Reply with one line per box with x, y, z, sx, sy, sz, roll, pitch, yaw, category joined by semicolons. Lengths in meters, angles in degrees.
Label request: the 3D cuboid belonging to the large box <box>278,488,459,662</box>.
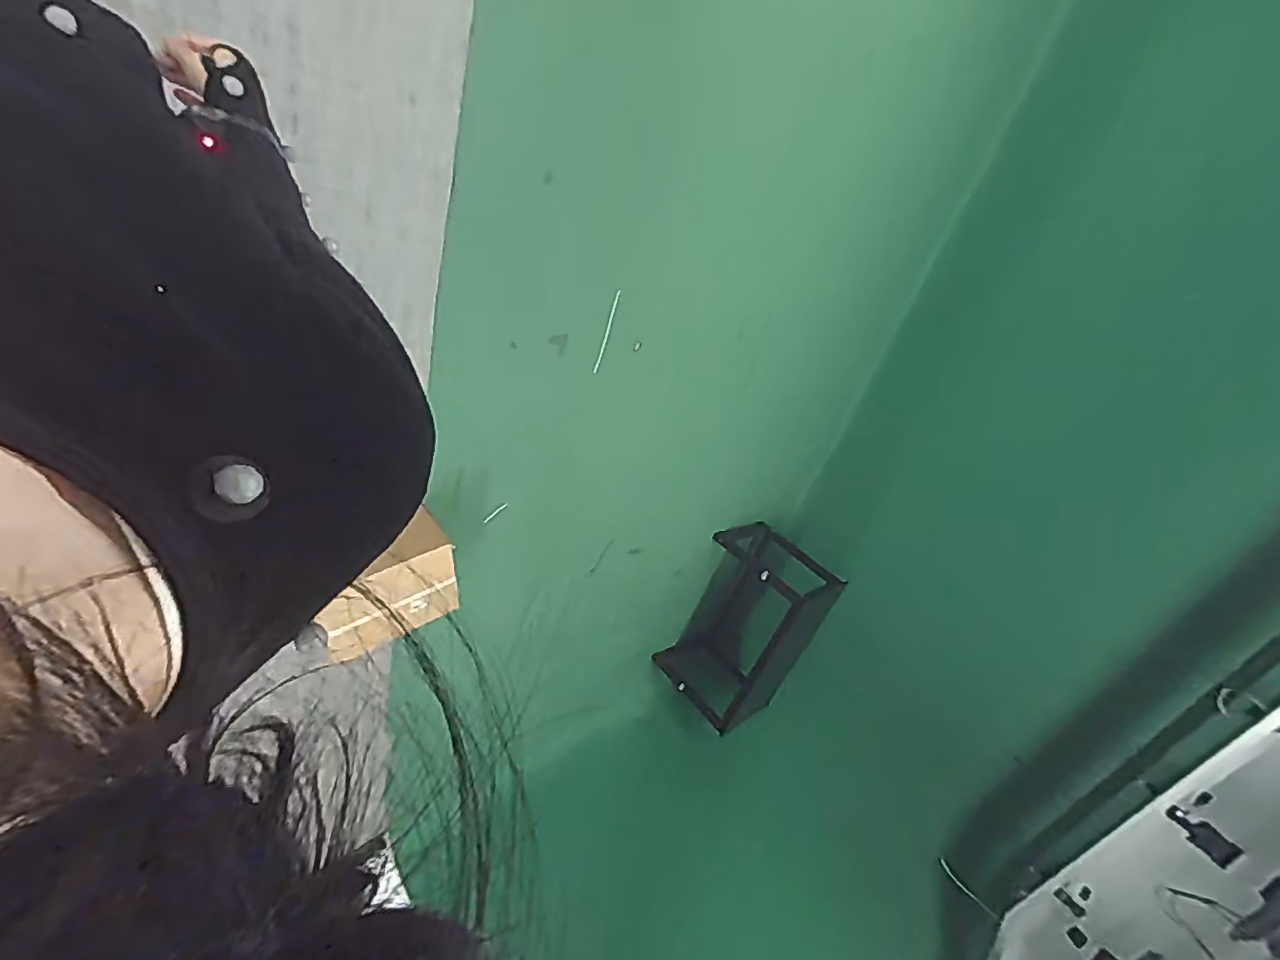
-0.843;0.284;1.712;0.408;0.320;0.320;-24;139;-35;large box
